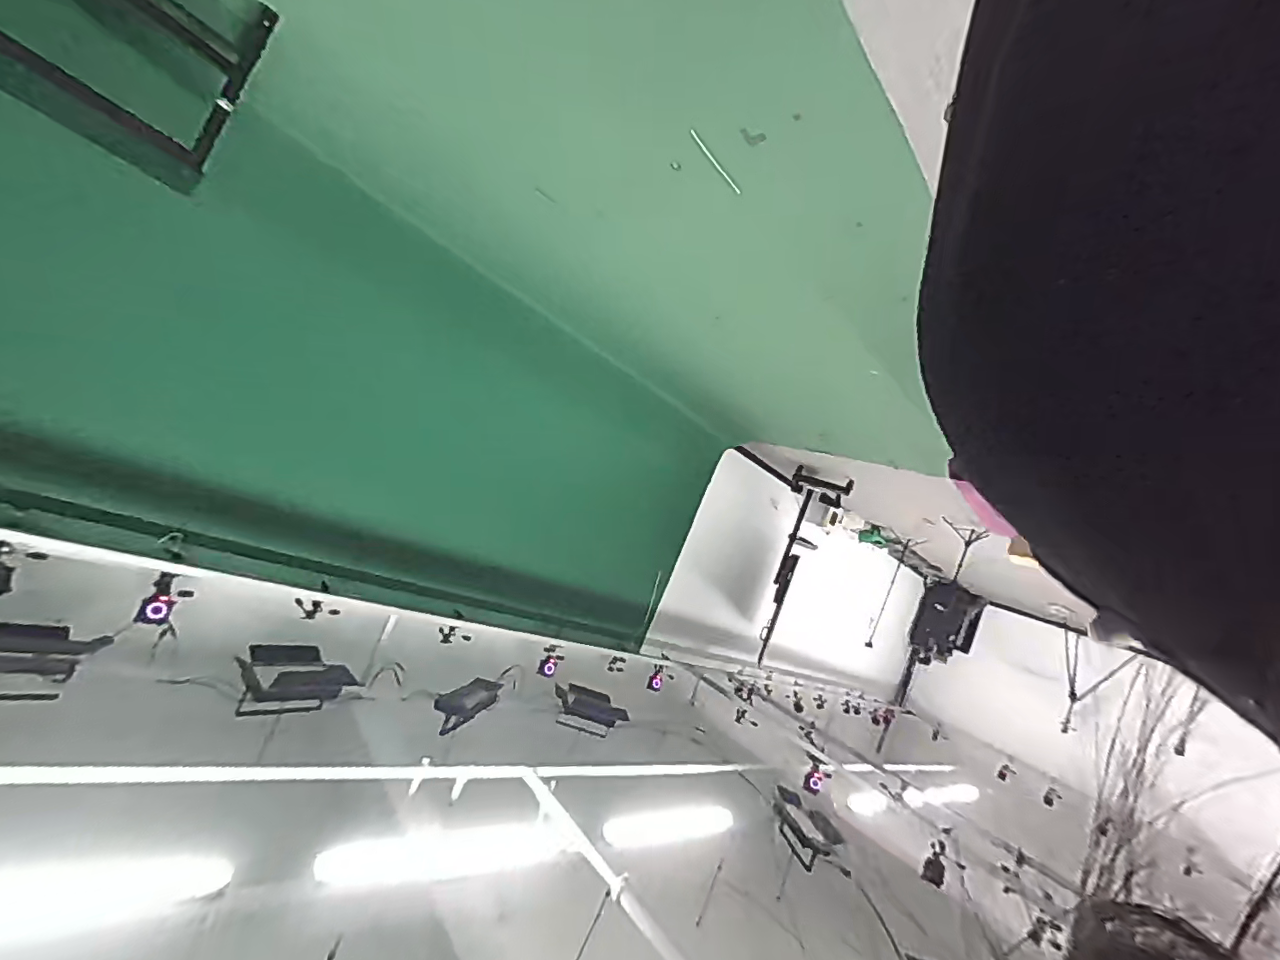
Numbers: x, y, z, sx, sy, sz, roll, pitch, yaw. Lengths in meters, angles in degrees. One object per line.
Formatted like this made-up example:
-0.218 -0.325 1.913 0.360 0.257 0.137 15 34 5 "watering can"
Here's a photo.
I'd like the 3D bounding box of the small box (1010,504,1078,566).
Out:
1.498 0.199 2.003 0.168 0.176 0.179 18 173 44 "small box"
